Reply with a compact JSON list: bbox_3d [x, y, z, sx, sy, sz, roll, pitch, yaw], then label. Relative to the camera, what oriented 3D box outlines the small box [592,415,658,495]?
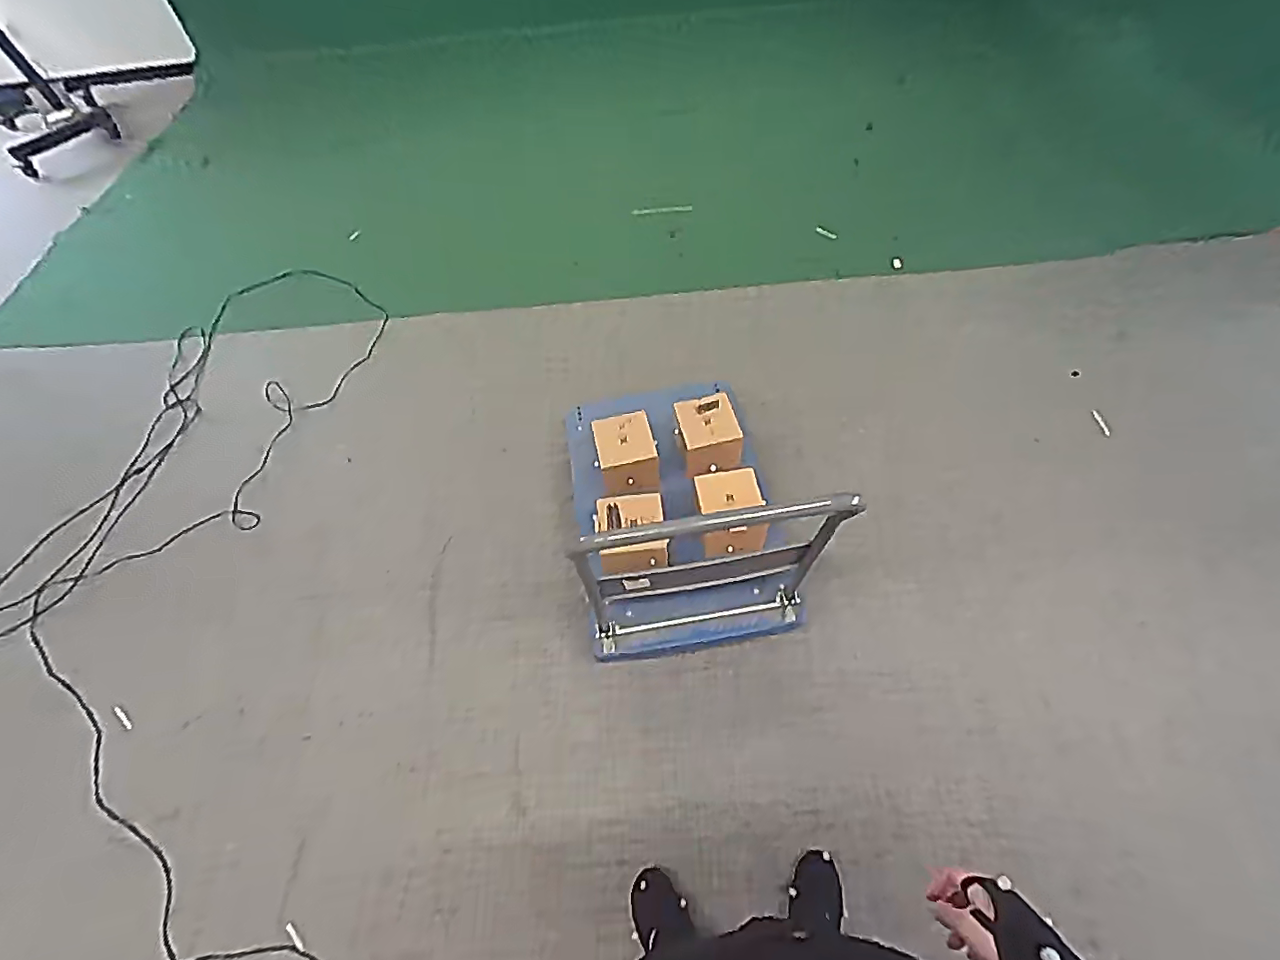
[{"bbox_3d":[-0.042,-0.068,1.650,0.168,0.176,0.179,-12,58,-4],"label":"small box"}]

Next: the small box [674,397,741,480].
[{"bbox_3d":[0.202,-0.125,1.666,0.168,0.176,0.179,-13,59,-3],"label":"small box"}]

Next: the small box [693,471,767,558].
[{"bbox_3d":[0.245,0.100,1.522,0.168,0.176,0.179,-9,58,-1],"label":"small box"}]
